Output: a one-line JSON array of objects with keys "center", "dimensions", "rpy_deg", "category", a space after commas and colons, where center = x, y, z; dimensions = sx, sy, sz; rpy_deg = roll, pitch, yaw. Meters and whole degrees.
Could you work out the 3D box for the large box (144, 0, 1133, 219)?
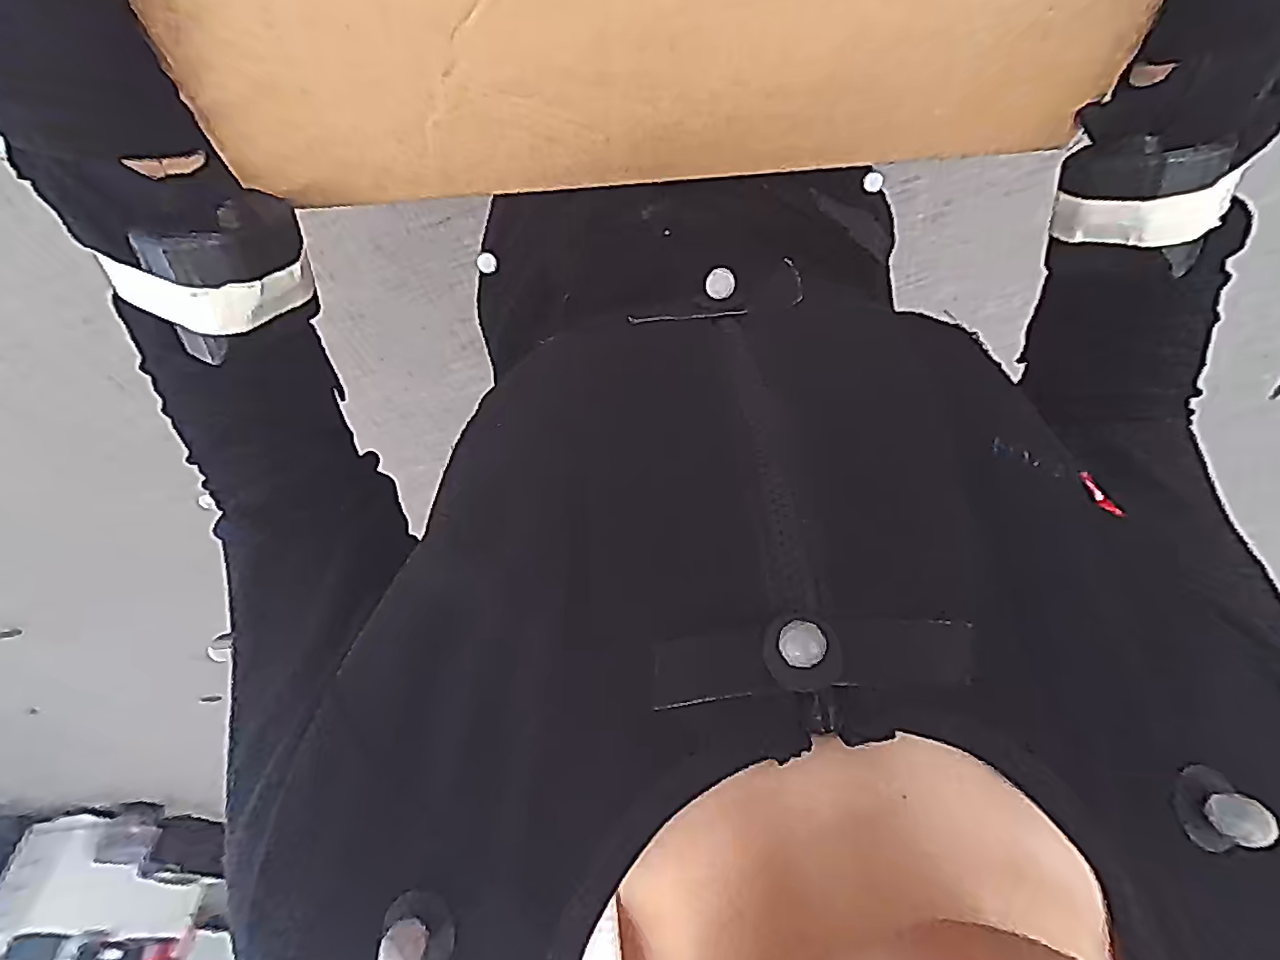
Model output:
[{"center": [0.002, -0.356, 0.208], "dimensions": [0.408, 0.320, 0.320], "rpy_deg": [-8, 154, -4], "category": "large box"}]
